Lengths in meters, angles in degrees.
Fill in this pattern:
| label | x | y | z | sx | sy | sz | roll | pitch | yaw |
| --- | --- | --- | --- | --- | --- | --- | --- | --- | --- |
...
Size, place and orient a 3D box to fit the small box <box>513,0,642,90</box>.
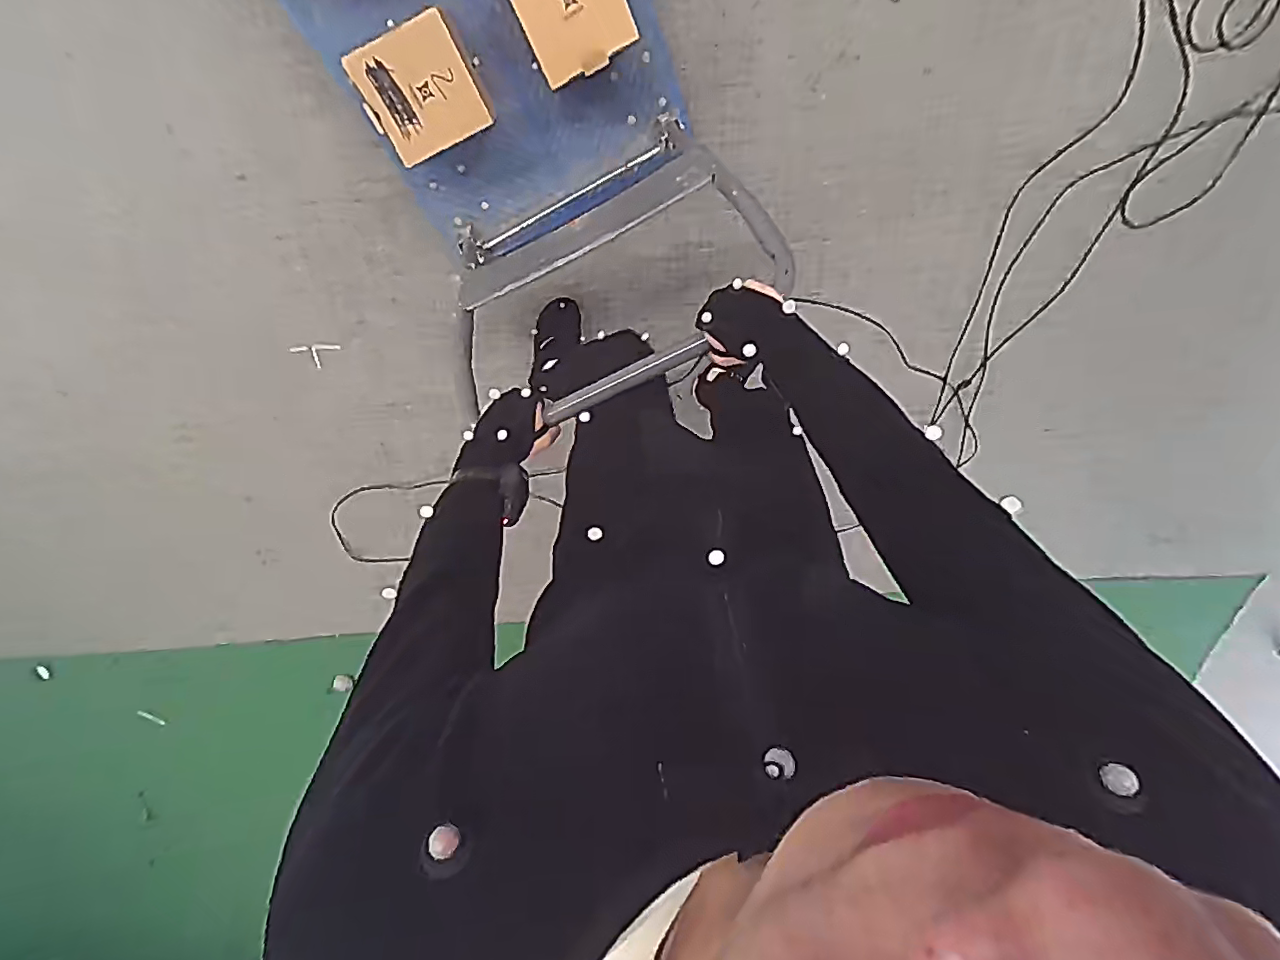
| label | x | y | z | sx | sy | sz | roll | pitch | yaw |
| --- | --- | --- | --- | --- | --- | --- | --- | --- | --- |
| small box | -0.117 | -0.792 | 0.898 | 0.168 | 0.176 | 0.179 | -25 | 132 | 10 |
